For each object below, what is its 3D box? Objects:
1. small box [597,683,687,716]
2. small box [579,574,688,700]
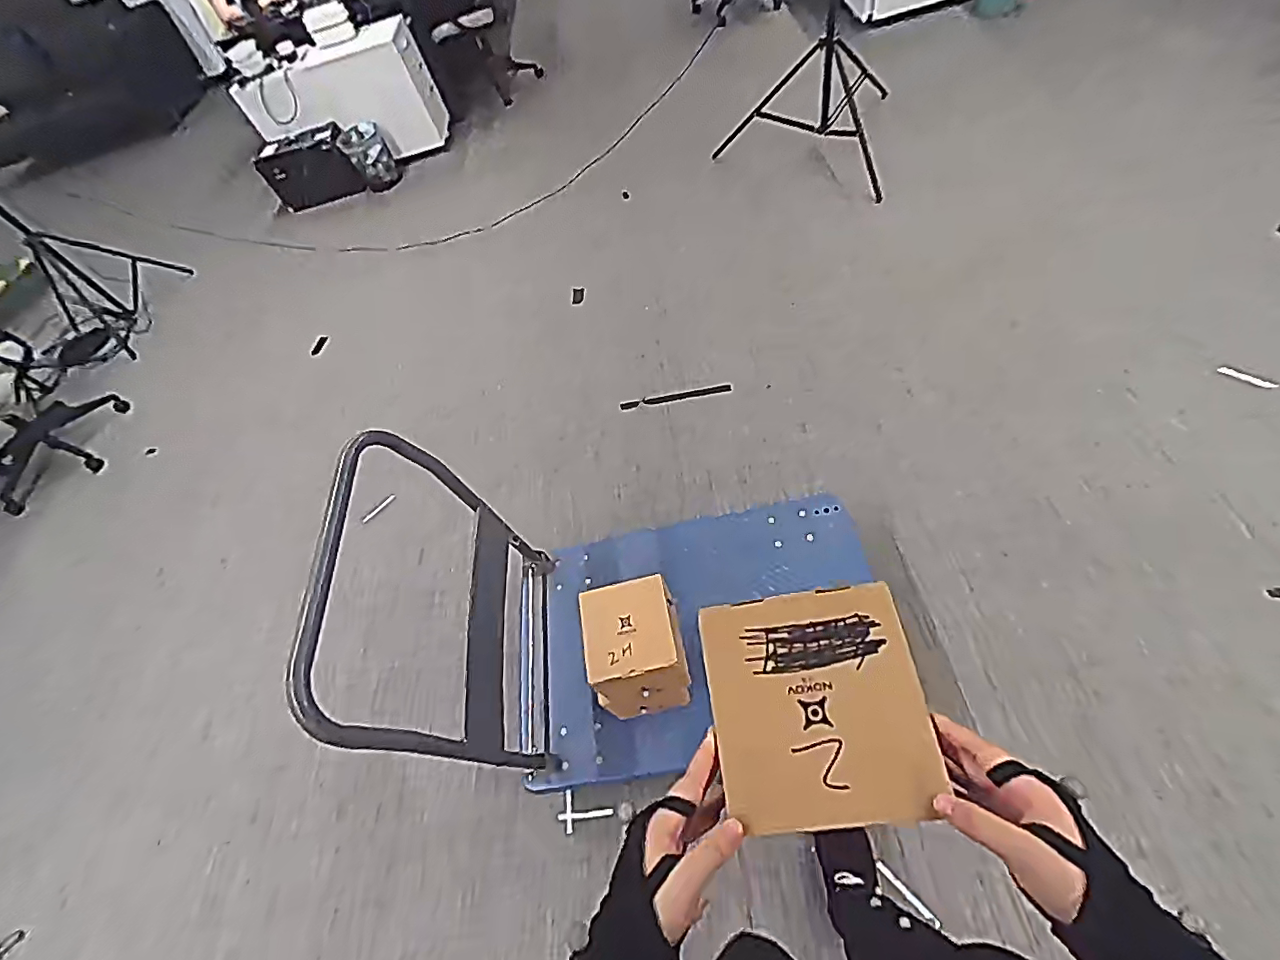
[{"bbox_3d":[-0.001,0.401,1.189,0.168,0.176,0.179,-15,56,5],"label":"small box"},{"bbox_3d":[-0.010,0.308,1.051,0.168,0.176,0.179,-15,56,5],"label":"small box"}]
